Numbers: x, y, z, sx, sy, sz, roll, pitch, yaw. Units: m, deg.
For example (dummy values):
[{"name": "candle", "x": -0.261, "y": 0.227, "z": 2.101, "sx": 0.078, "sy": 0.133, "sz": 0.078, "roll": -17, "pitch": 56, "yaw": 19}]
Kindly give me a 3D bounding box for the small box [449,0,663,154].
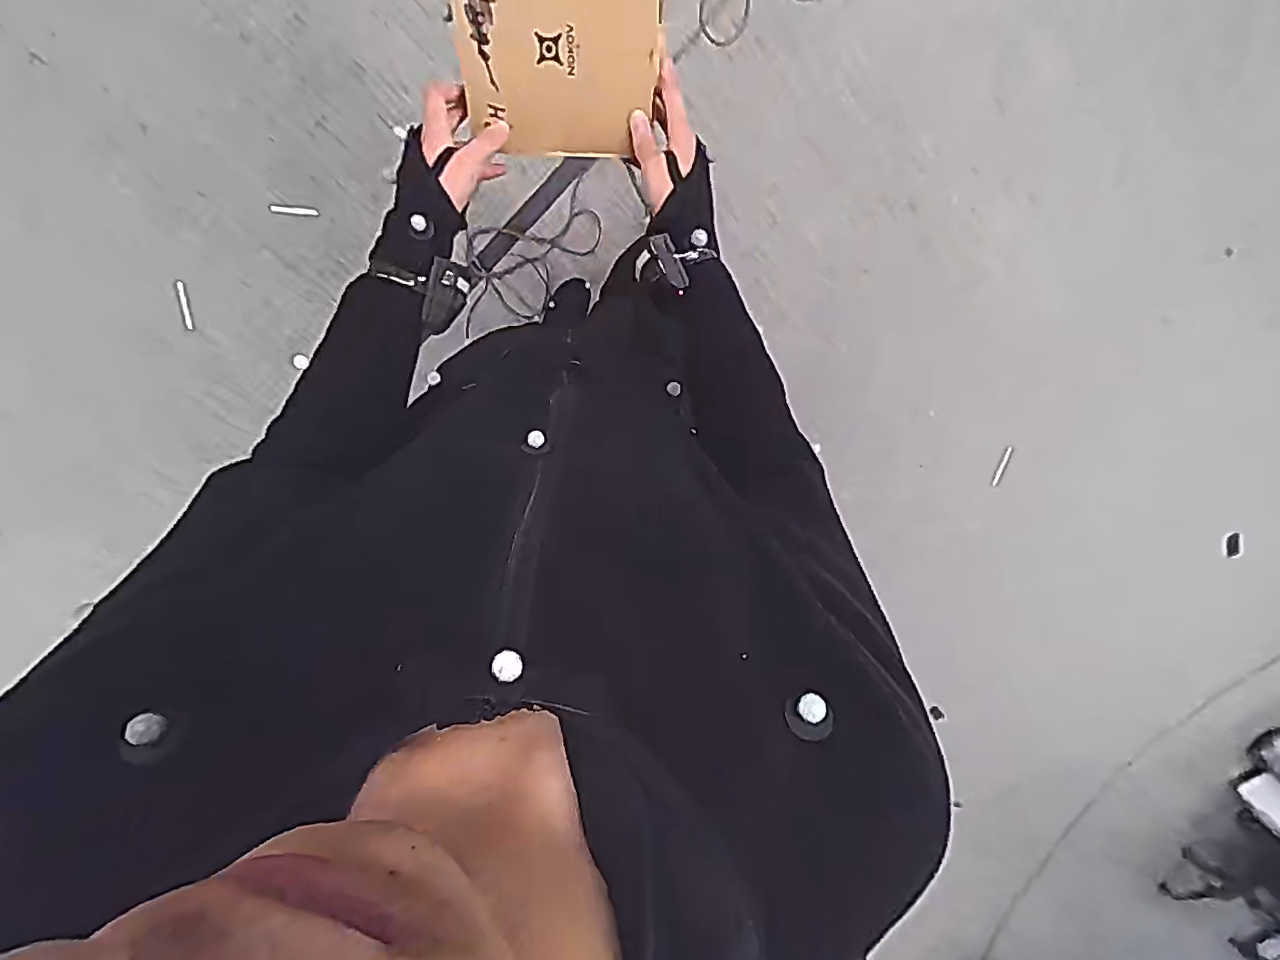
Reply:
[{"name": "small box", "x": -0.075, "y": -0.432, "z": 0.513, "sx": 0.179, "sy": 0.176, "sz": 0.168, "roll": -1, "pitch": 139, "yaw": -4}]
